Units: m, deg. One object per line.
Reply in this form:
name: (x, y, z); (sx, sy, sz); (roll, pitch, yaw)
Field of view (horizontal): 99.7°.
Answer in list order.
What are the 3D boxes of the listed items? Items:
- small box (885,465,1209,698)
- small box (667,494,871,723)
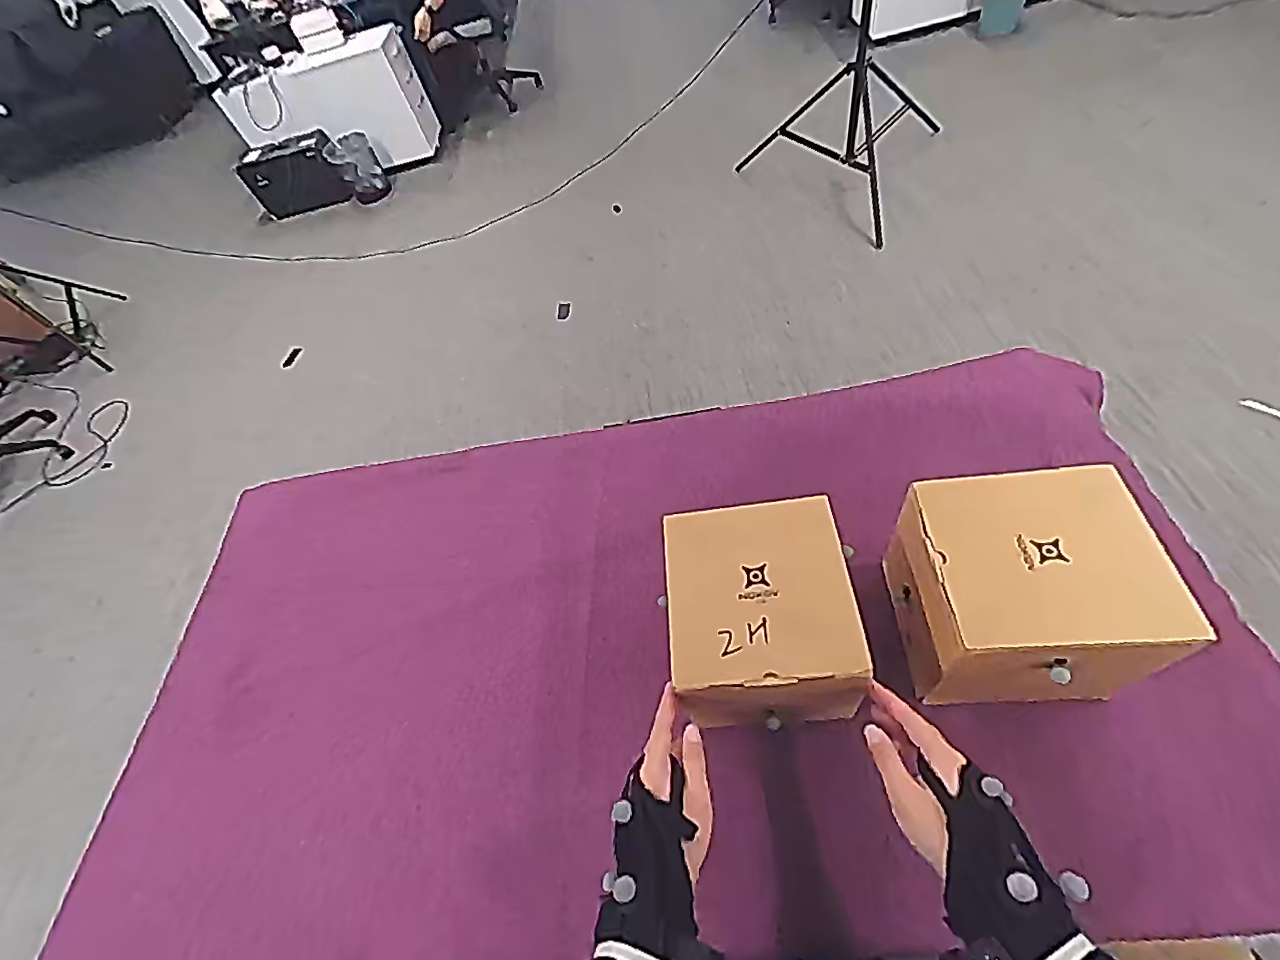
small box: (0.360, 0.106, 0.526); (0.179, 0.176, 0.168); (-6, 53, 11)
small box: (0.123, 0.139, 0.560); (0.168, 0.176, 0.179); (-8, 54, 9)
